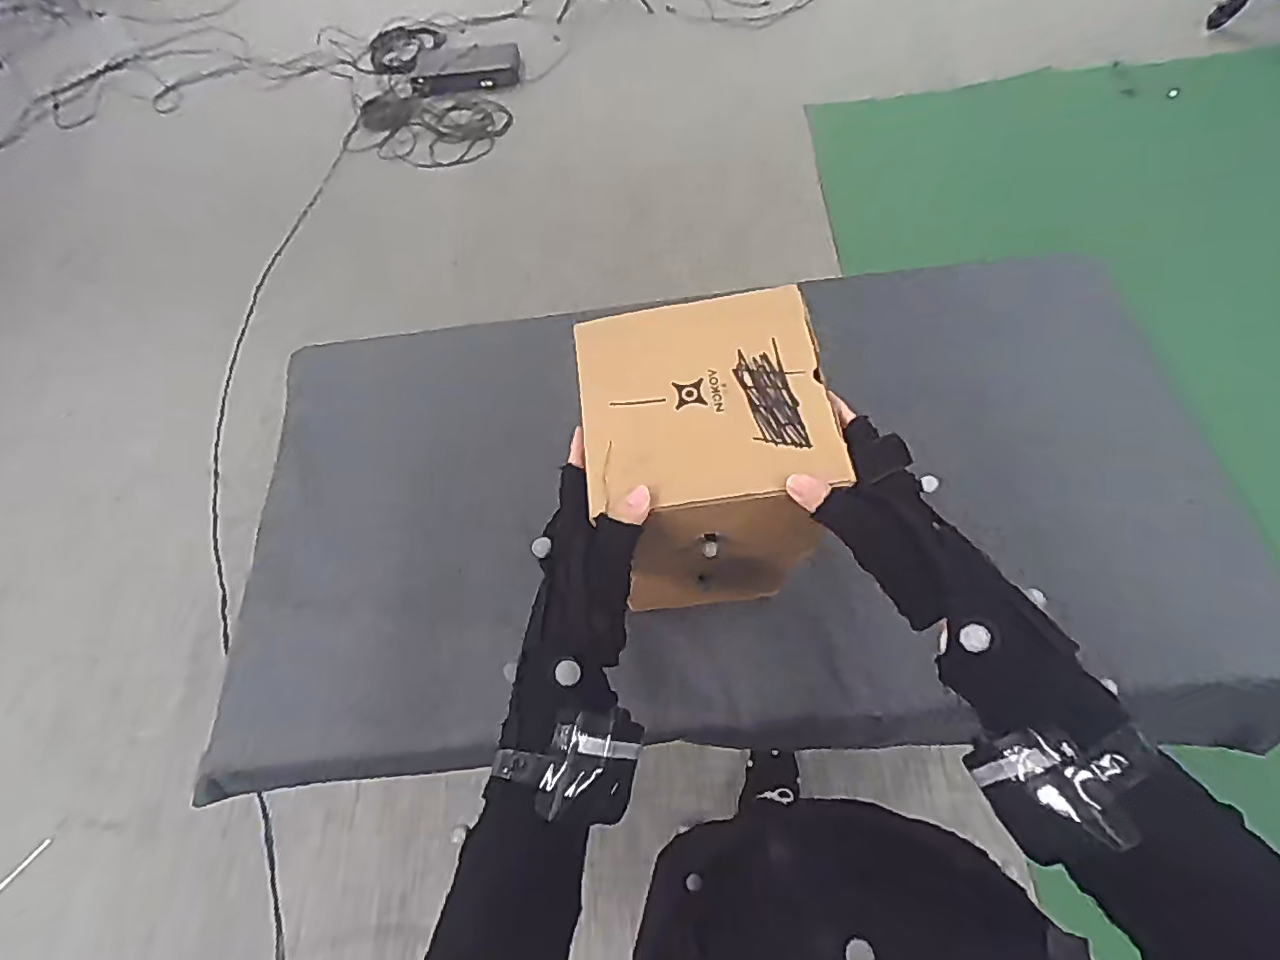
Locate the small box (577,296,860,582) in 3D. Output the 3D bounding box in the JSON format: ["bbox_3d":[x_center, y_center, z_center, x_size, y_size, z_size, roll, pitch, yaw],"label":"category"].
[{"bbox_3d":[0.053,-0.022,0.456,0.179,0.176,0.168,-10,66,1],"label":"small box"}]

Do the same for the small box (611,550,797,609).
[{"bbox_3d":[0.061,0.042,0.607,0.179,0.176,0.168,-7,65,2],"label":"small box"}]
